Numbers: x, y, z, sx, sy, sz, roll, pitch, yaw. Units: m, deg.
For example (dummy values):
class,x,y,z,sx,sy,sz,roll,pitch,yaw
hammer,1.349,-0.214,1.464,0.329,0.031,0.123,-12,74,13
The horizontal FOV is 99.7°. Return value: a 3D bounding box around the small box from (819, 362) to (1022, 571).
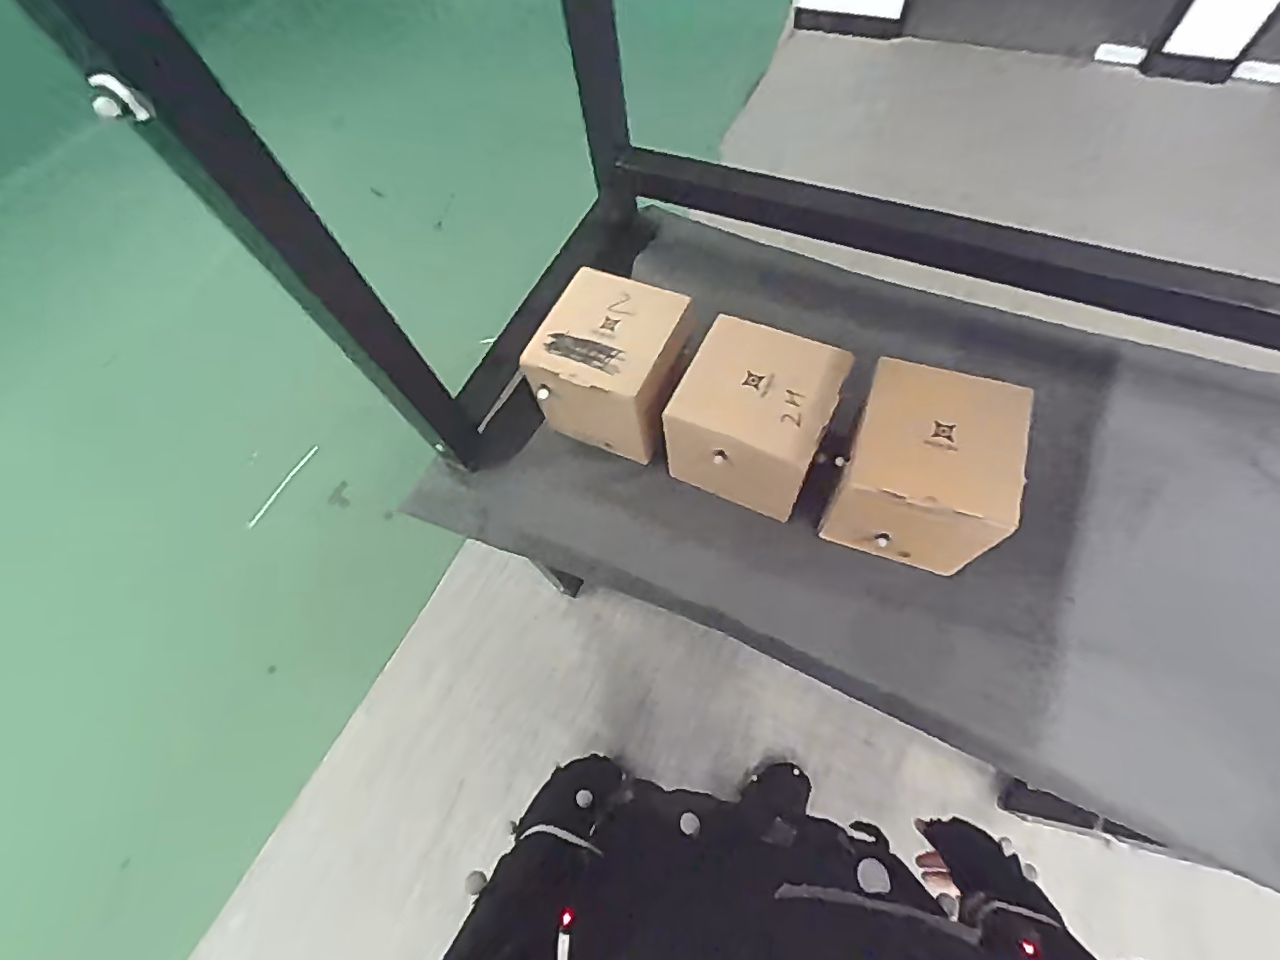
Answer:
class,x,y,z,sx,sy,sz,roll,pitch,yaw
small box,0.333,-0.011,0.668,0.168,0.176,0.179,17,68,14
